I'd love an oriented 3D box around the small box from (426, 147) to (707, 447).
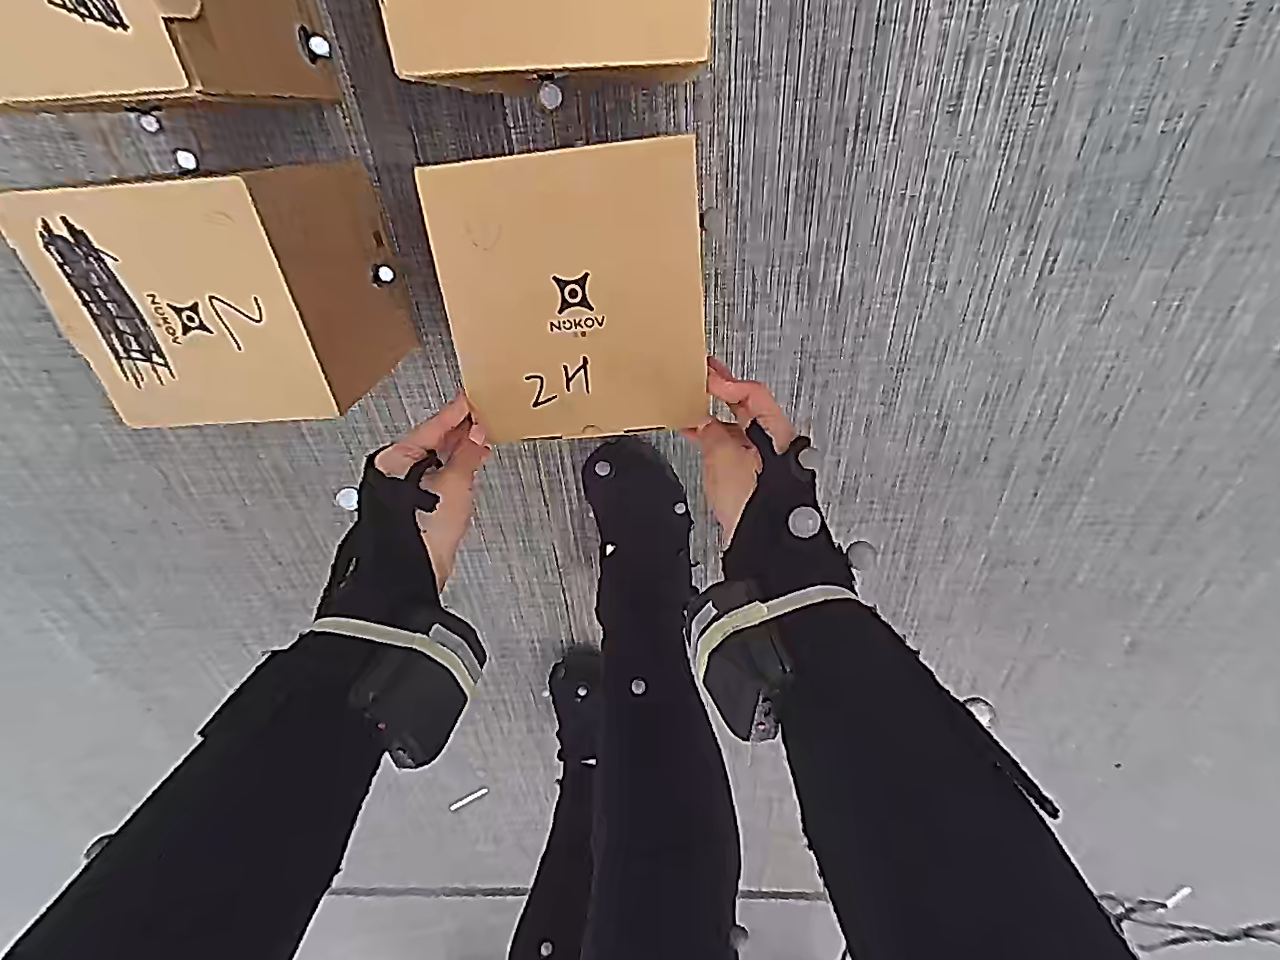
[{"bbox_3d":[-0.038,-0.141,0.425,0.168,0.176,0.179,-4,114,5],"label":"small box"}]
